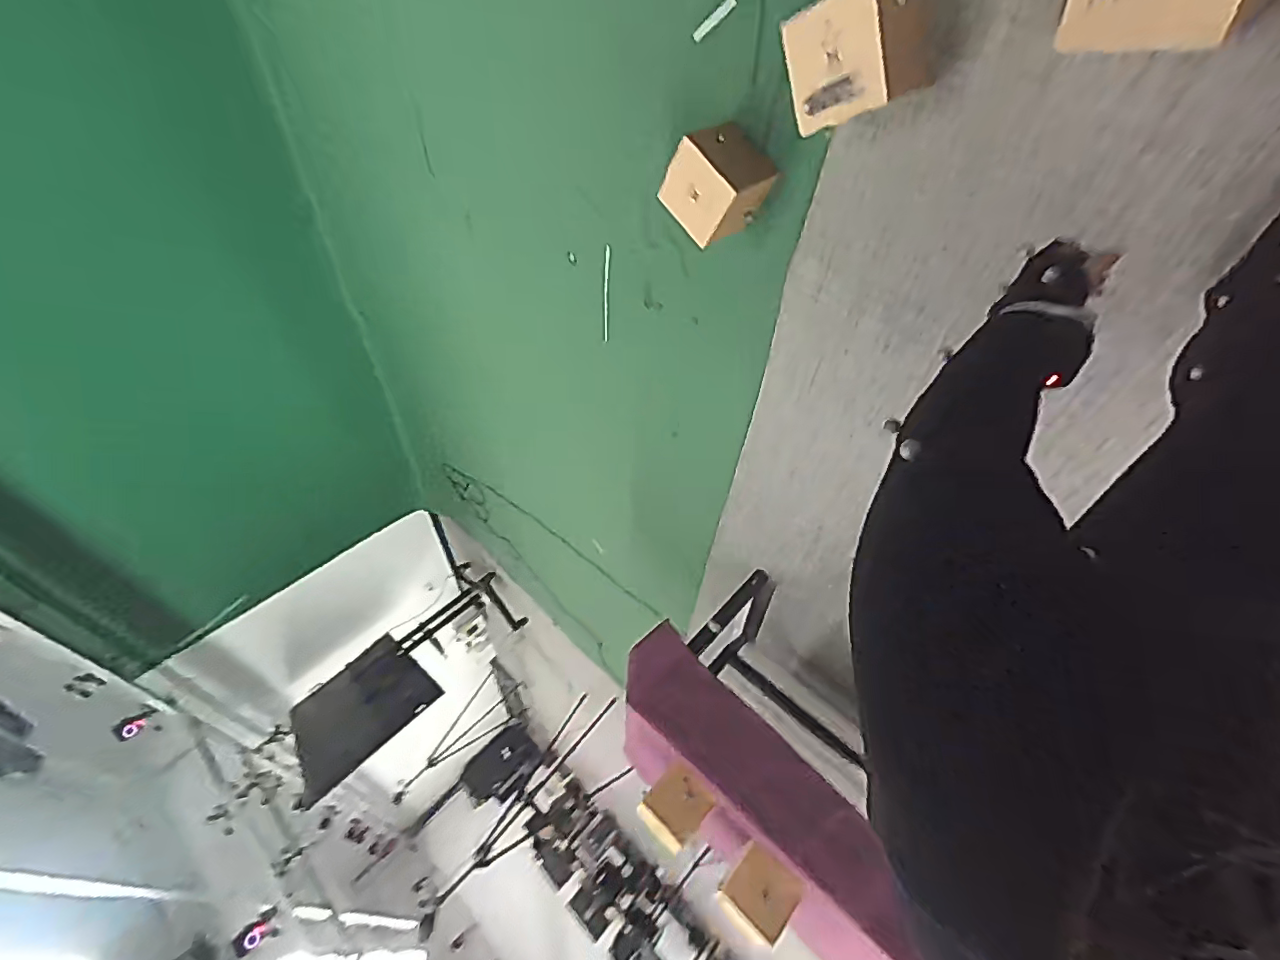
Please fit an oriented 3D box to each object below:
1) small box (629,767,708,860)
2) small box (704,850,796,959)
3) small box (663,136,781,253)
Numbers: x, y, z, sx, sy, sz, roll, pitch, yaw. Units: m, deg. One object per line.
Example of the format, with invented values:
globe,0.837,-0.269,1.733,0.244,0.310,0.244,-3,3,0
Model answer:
small box,0.088,1.024,1.663,0.168,0.176,0.179,39,145,23
small box,0.310,1.192,1.524,0.179,0.176,0.168,38,145,23
small box,0.193,-0.677,1.276,0.179,0.176,0.168,52,149,4
